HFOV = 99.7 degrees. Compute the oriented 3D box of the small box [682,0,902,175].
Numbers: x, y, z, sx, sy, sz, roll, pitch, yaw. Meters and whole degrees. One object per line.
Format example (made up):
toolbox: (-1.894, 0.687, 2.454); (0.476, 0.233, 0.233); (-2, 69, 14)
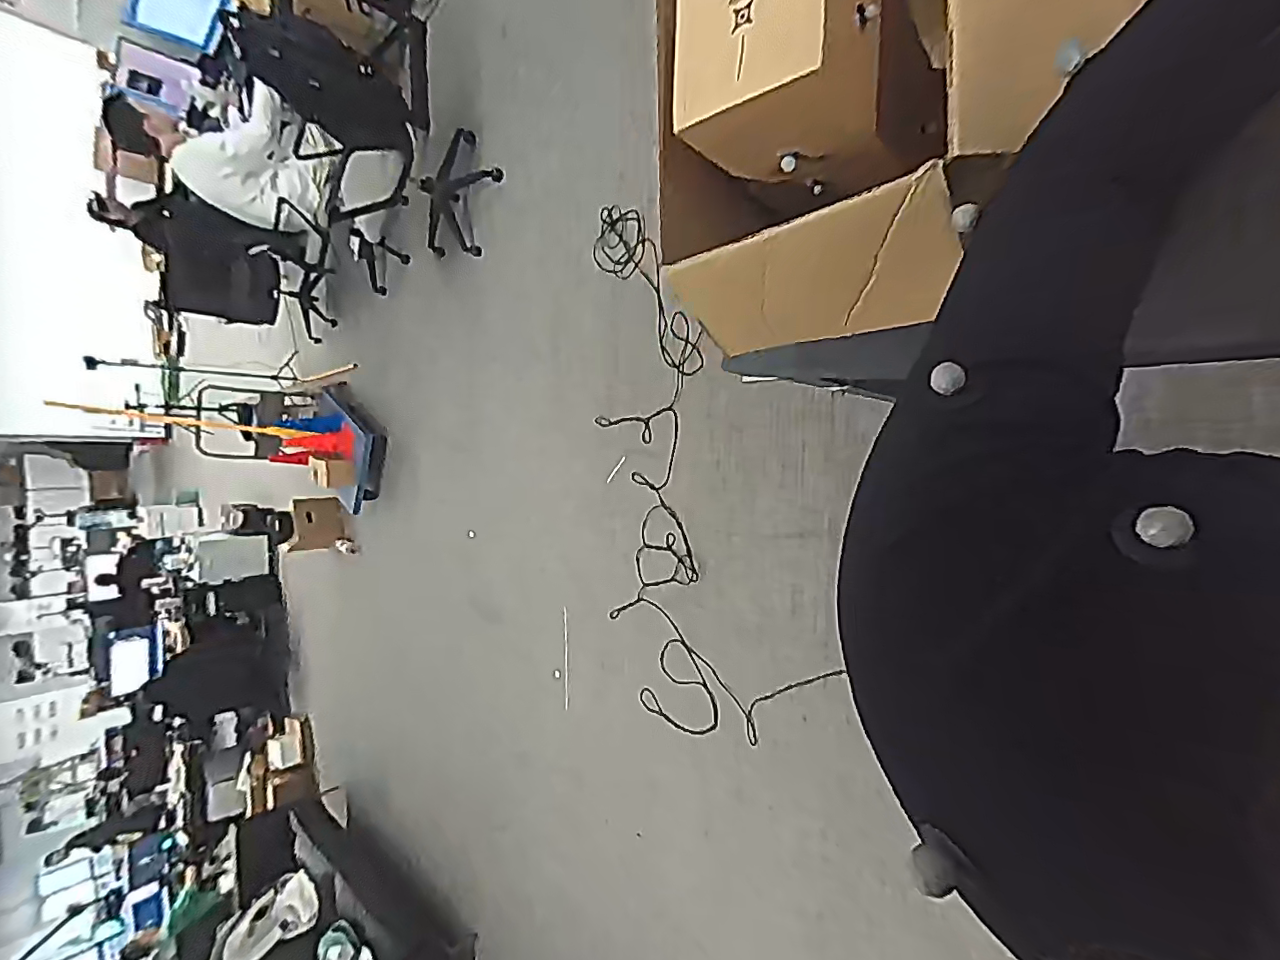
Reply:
small box: (0.161, -0.457, 0.566); (0.168, 0.176, 0.179); (7, 99, 41)
